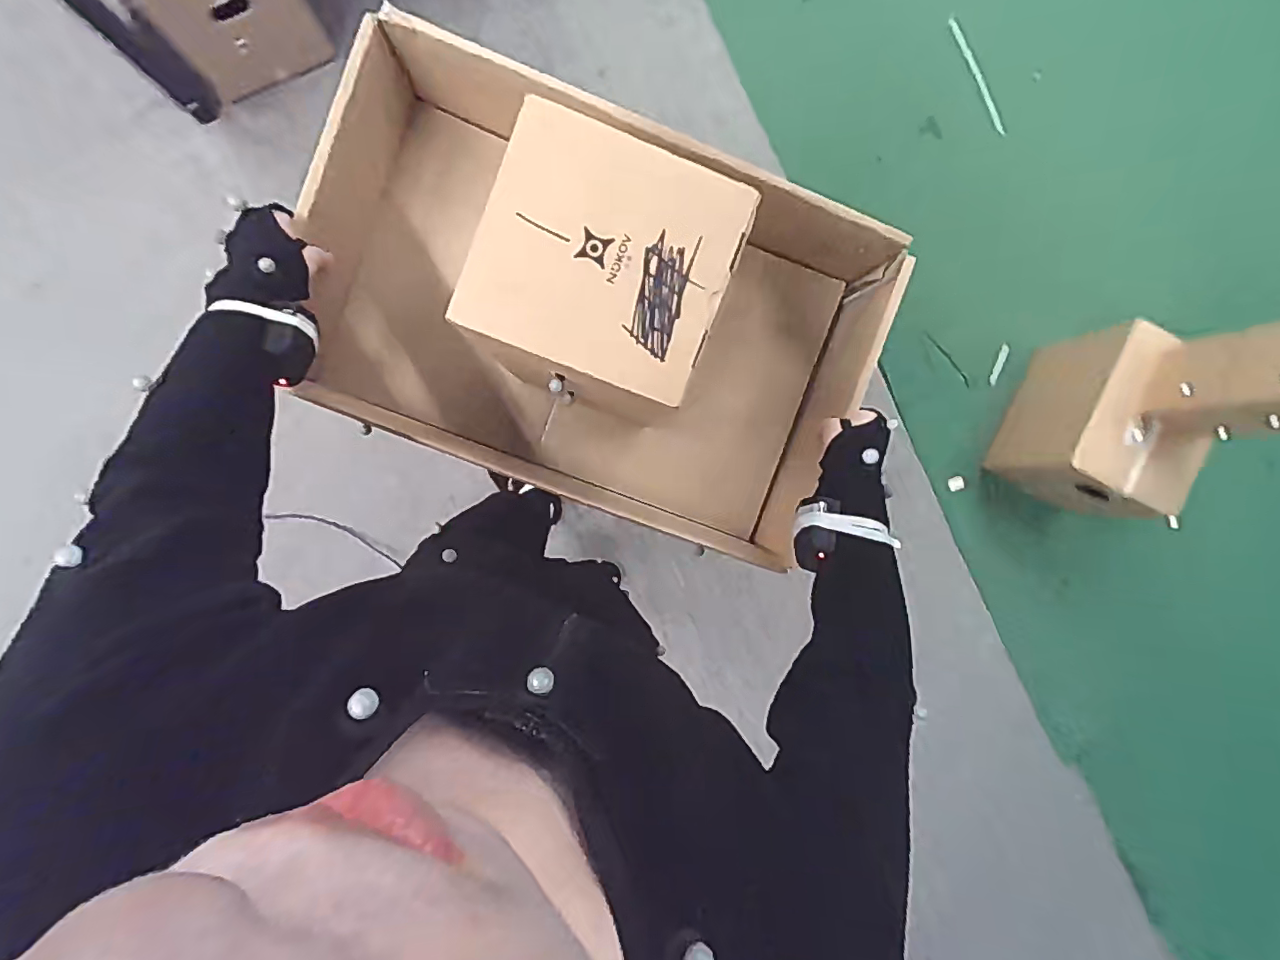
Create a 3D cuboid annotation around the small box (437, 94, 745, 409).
[{"bbox_3d":[-0.038,-0.165,0.458,0.179,0.176,0.168,20,92,-5],"label":"small box"}]
